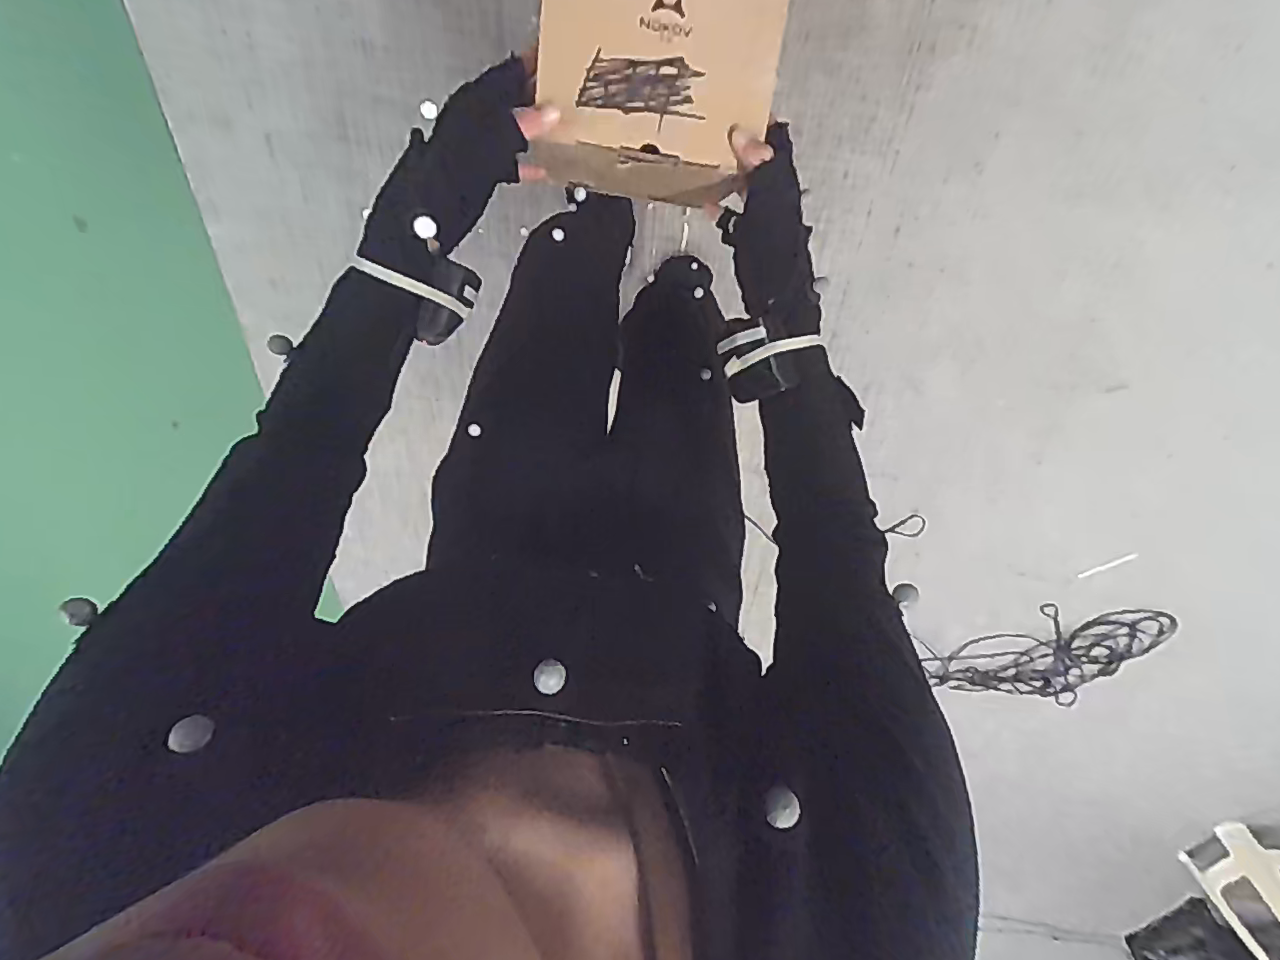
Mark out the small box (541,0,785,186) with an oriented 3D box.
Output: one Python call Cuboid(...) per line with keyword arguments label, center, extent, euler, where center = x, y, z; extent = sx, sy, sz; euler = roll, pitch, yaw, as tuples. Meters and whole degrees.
Cuboid(label="small box", center=(0.013, -0.359, 0.445), extent=(0.168, 0.176, 0.179), euler=(5, 109, -8))
